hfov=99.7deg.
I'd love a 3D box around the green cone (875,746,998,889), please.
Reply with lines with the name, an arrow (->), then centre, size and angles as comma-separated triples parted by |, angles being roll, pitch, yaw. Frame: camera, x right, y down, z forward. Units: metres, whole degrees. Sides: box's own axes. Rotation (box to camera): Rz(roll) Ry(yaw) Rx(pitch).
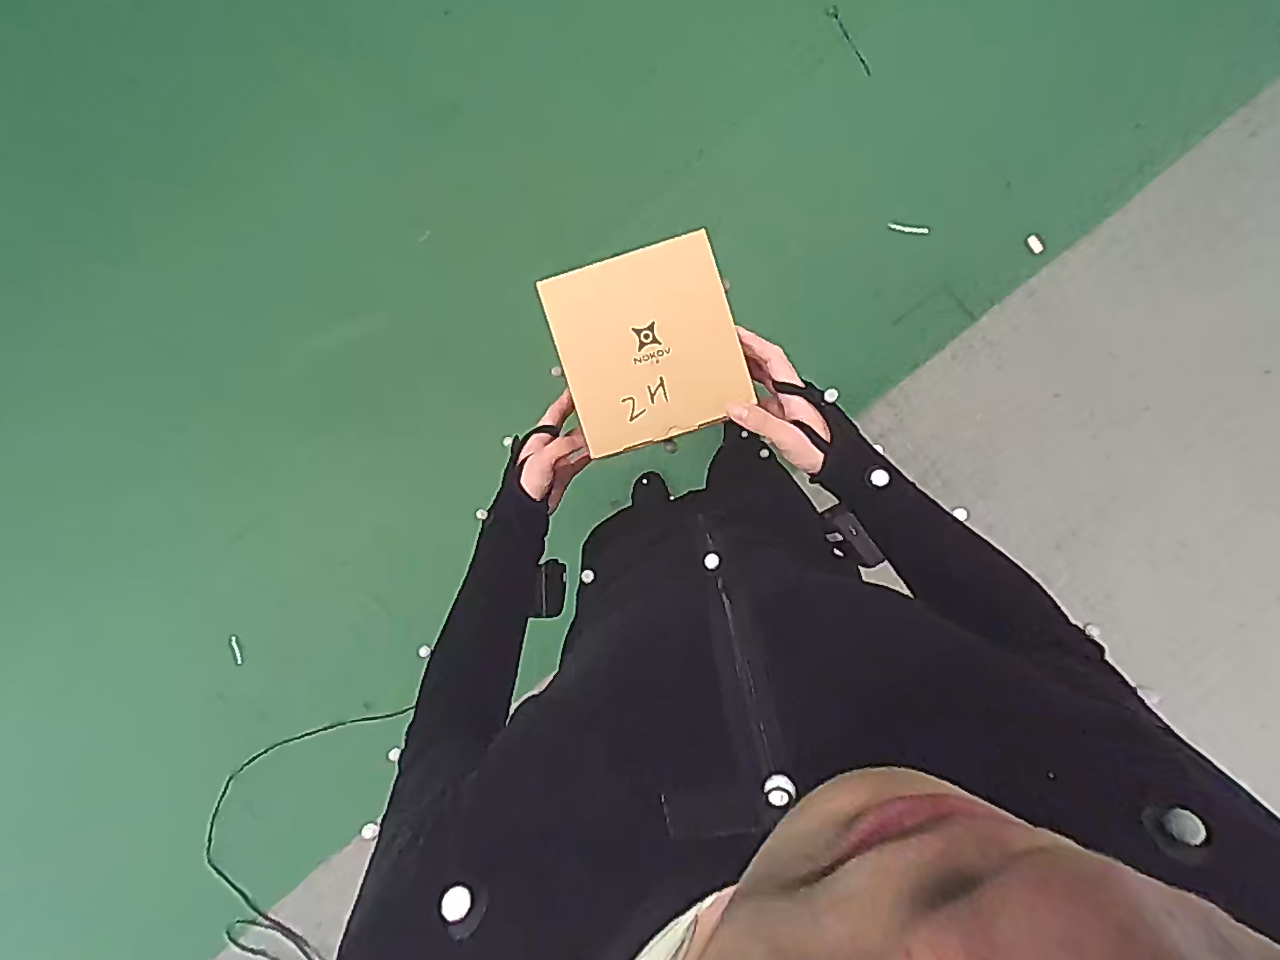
green cone -> 0.827, 0.927, 1.444 | 0.202, 0.368, 0.200 | -39, 91, 3
